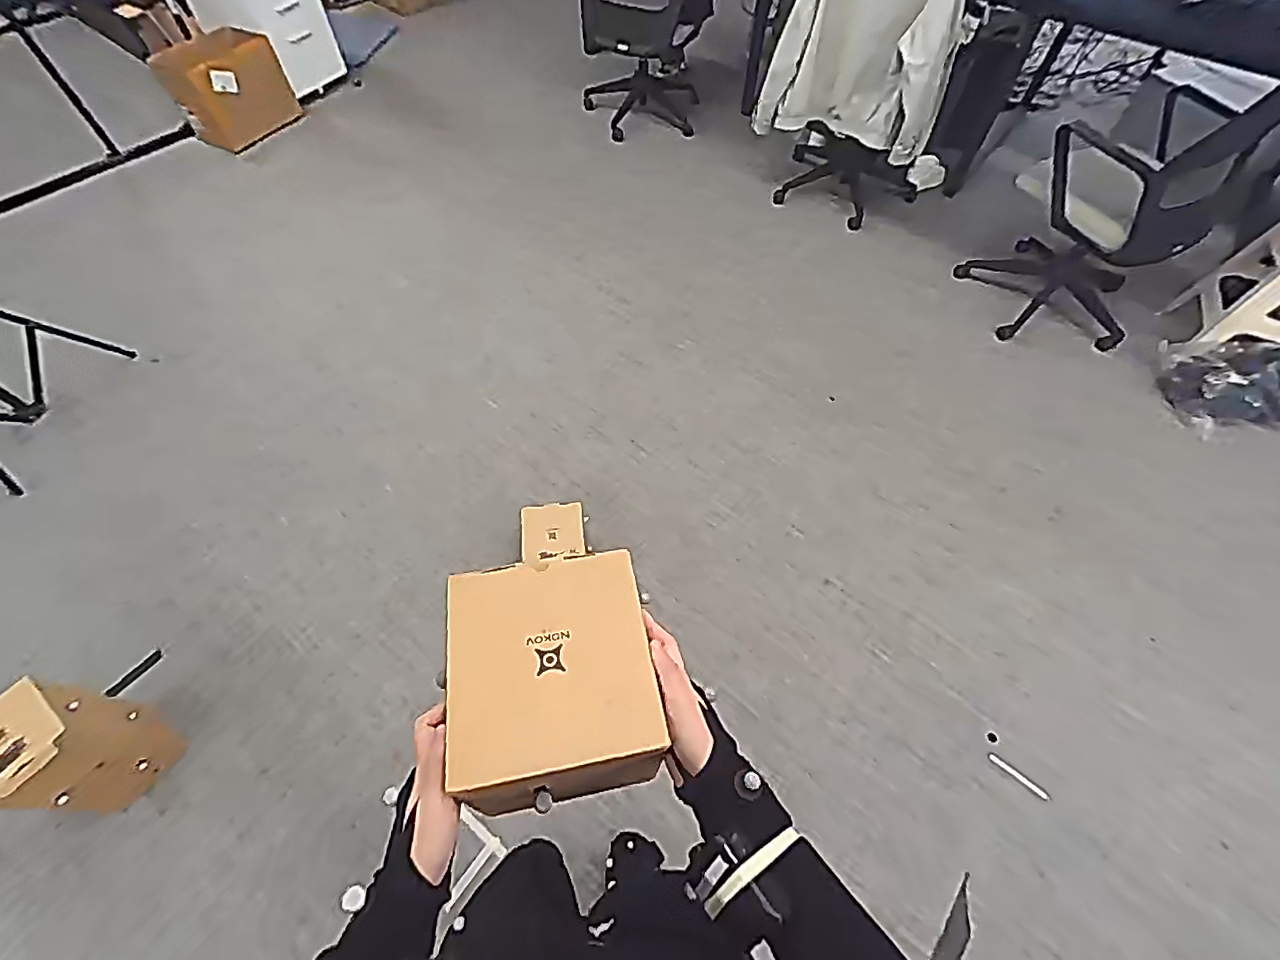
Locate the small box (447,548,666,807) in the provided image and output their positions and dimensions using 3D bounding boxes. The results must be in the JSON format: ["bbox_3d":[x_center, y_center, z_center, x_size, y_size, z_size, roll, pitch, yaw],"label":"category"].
[{"bbox_3d":[-0.076,0.191,0.508,0.168,0.176,0.179,-8,53,-9],"label":"small box"}]

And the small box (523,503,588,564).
[{"bbox_3d":[-0.232,0.184,1.511,0.168,0.176,0.179,-5,58,-5],"label":"small box"}]

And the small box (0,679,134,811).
[{"bbox_3d":[-1.198,0.536,1.093,0.179,0.176,0.168,31,63,18],"label":"small box"}]

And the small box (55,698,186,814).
[{"bbox_3d":[-1.203,0.626,1.231,0.179,0.176,0.168,30,62,18],"label":"small box"}]
